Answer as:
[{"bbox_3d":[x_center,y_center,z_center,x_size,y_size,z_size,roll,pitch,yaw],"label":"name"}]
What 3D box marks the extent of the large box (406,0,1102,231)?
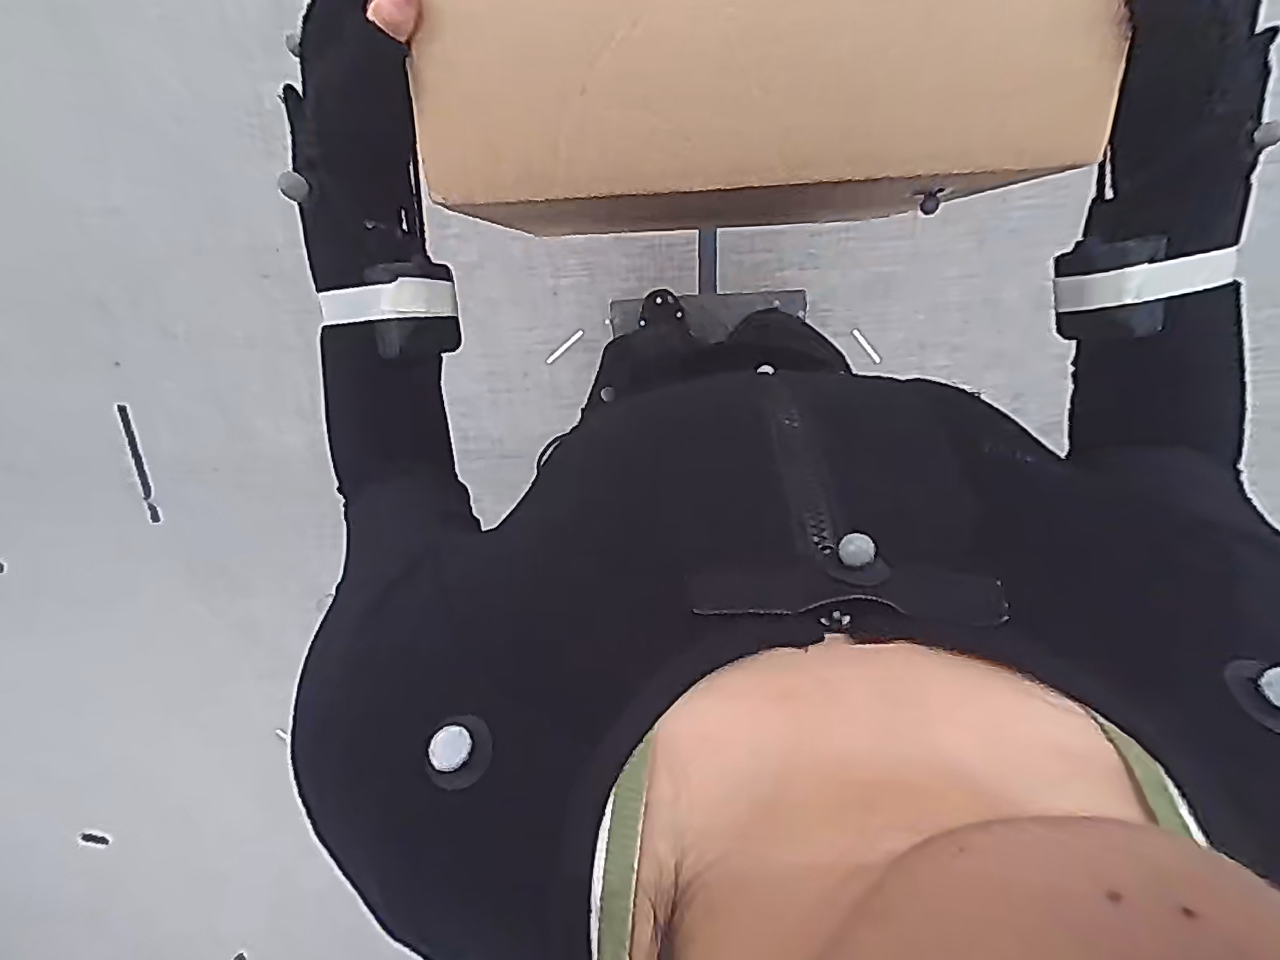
[{"bbox_3d":[0.065,-0.383,0.426,0.408,0.320,0.320,-2,110,2],"label":"large box"}]
